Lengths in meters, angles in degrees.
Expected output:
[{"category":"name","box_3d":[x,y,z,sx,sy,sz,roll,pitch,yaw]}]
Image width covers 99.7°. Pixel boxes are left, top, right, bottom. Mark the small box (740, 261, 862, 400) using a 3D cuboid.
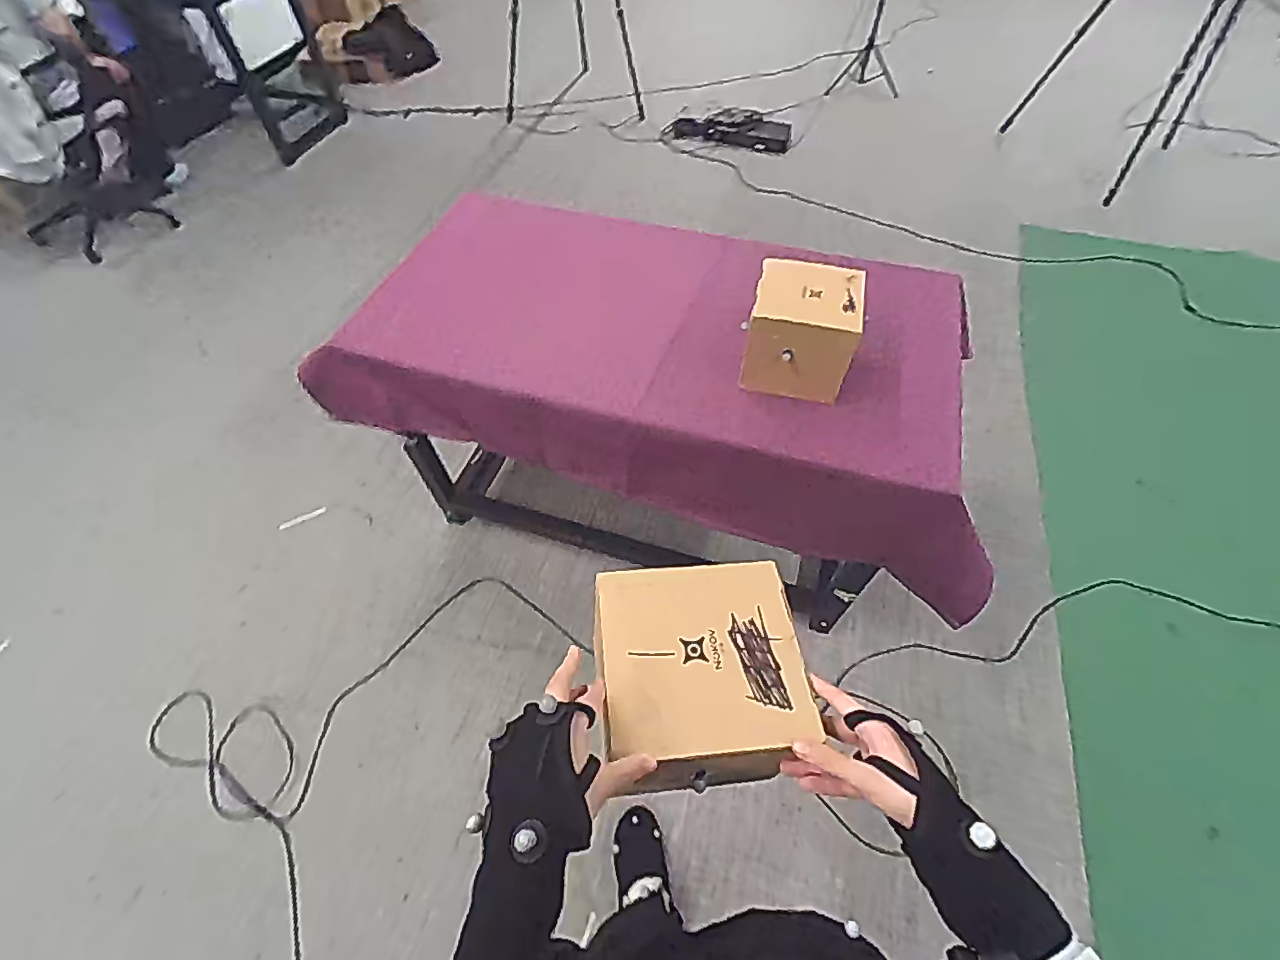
[{"category":"small box","box_3d":[0.282,-0.264,0.971,0.179,0.176,0.168,12,56,10]}]
